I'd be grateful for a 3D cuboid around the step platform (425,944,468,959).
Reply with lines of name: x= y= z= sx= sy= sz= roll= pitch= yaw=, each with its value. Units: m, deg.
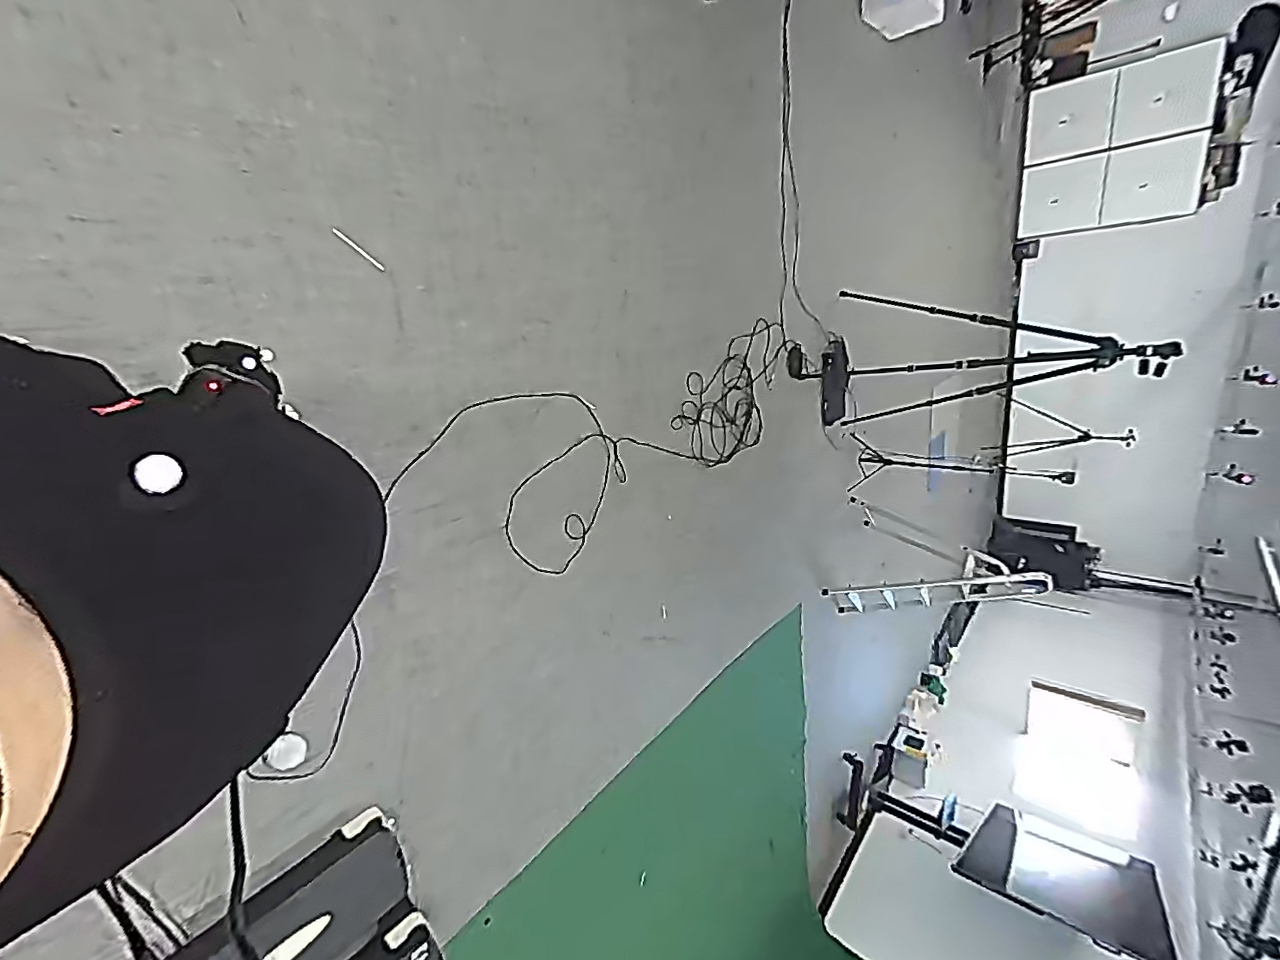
step platform: x=-0.684 y=1.565 z=1.334 sx=0.684 sy=0.204 sz=0.286 roll=-25 pitch=114 yaw=-45
